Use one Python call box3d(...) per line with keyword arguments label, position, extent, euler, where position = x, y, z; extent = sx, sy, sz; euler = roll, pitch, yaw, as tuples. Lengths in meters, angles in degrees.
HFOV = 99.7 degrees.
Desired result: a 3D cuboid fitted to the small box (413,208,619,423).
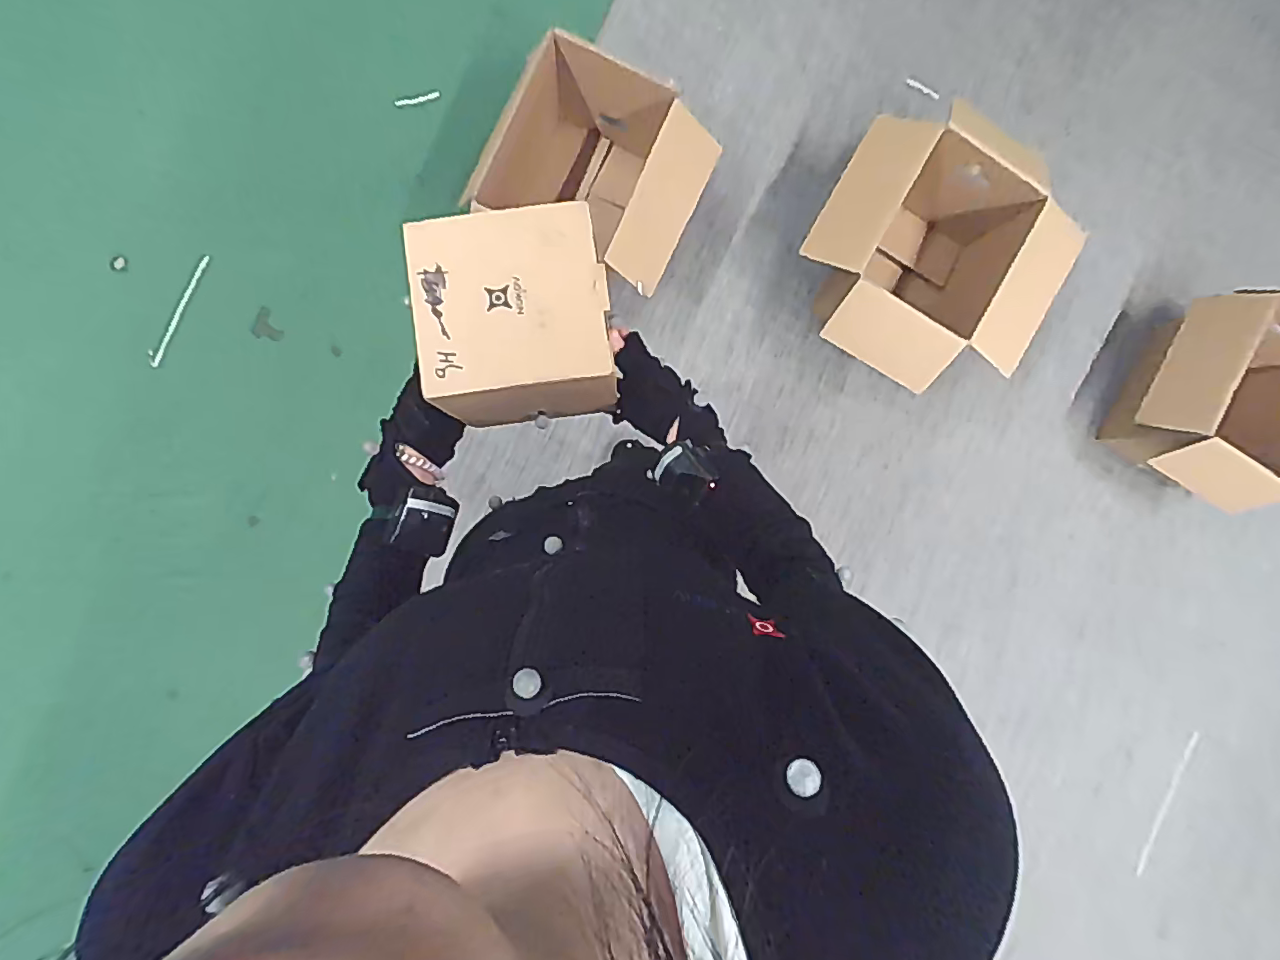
box3d(label="small box", position=(-0.119, -0.161, 0.577), extent=(0.179, 0.176, 0.168), euler=(-7, 86, -3))
